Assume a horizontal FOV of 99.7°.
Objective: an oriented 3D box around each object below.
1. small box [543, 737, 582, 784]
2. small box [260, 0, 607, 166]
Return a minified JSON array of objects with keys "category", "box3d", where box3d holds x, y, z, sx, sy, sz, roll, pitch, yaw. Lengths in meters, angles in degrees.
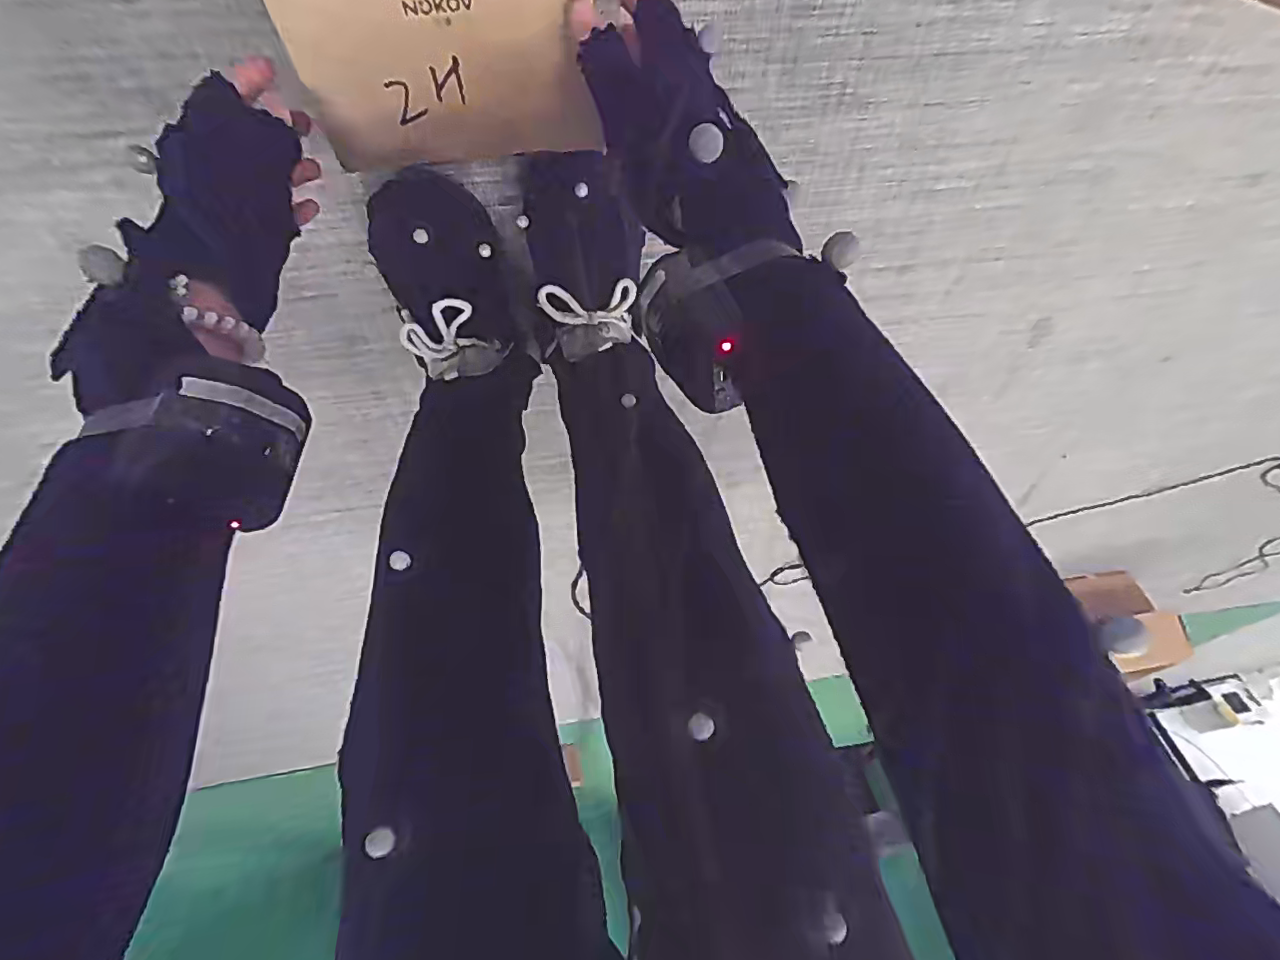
[{"category":"small box","box3d":[-0.382,1.377,2.655,0.179,0.176,0.168,-7,146,-7]},{"category":"small box","box3d":[-0.115,-0.311,0.301,0.168,0.176,0.179,-9,146,-4]}]
